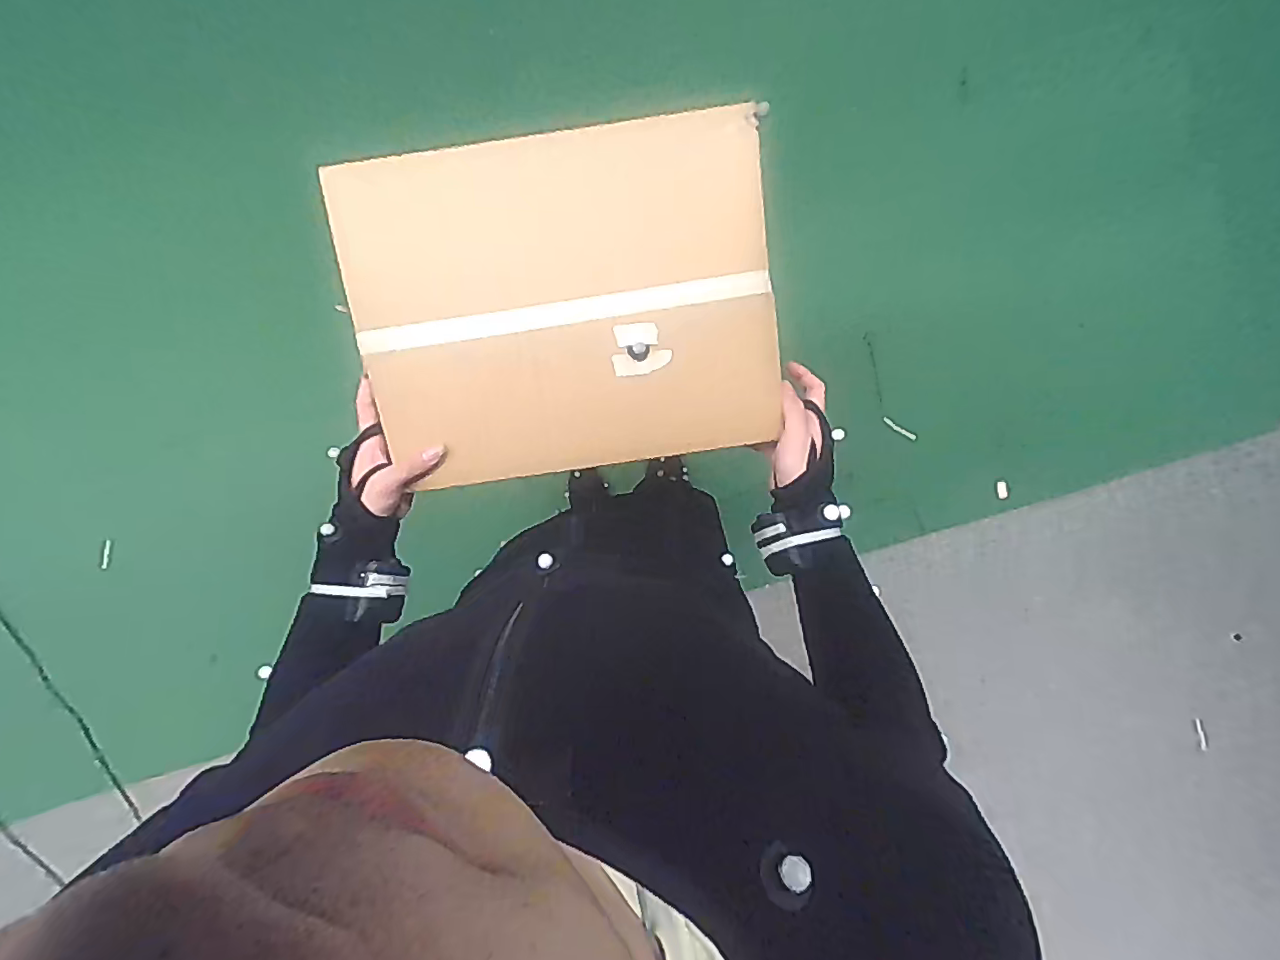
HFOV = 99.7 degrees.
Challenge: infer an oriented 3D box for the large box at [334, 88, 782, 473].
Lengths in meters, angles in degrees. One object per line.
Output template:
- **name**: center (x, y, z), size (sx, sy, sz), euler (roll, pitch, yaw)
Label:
- **large box**: center (-0.074, -0.217, 0.676), size (0.408, 0.320, 0.320), euler (-8, 104, 0)
